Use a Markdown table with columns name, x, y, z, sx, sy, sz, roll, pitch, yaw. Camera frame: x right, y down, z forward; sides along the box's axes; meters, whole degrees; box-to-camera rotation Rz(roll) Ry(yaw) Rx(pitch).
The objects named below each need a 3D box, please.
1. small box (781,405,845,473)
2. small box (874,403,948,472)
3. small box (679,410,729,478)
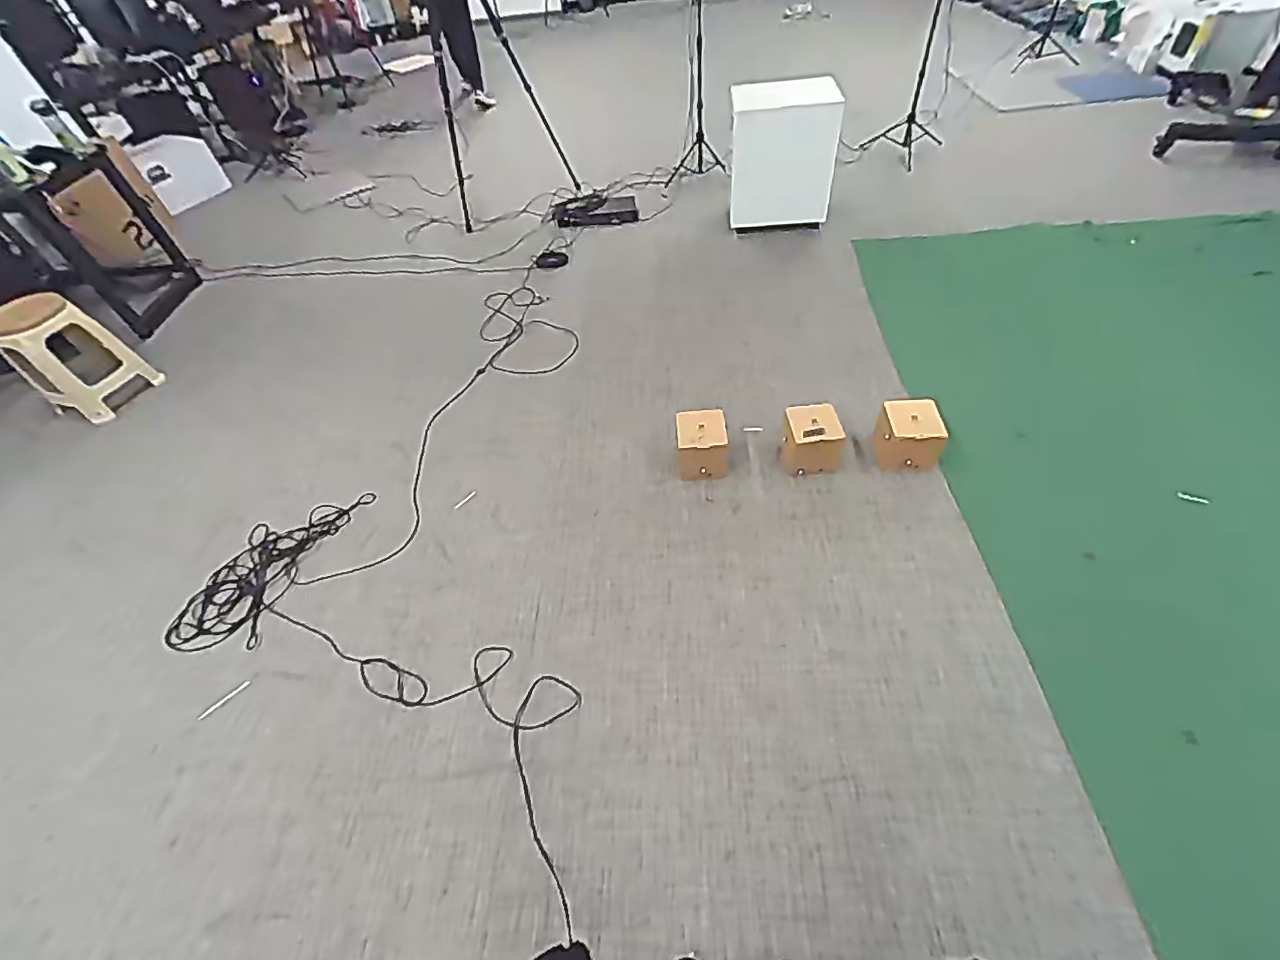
| name | x | y | z | sx | sy | sz | roll | pitch | yaw |
| --- | --- | --- | --- | --- | --- | --- | --- | --- | --- |
| small box | 0.597 | -0.137 | 1.881 | 0.168 | 0.176 | 0.179 | -5 | 49 | 2 |
| small box | 0.920 | -0.145 | 1.856 | 0.168 | 0.176 | 0.179 | -1 | 51 | 6 |
| small box | 0.223 | -0.126 | 1.910 | 0.168 | 0.176 | 0.179 | -4 | 51 | 5 |
